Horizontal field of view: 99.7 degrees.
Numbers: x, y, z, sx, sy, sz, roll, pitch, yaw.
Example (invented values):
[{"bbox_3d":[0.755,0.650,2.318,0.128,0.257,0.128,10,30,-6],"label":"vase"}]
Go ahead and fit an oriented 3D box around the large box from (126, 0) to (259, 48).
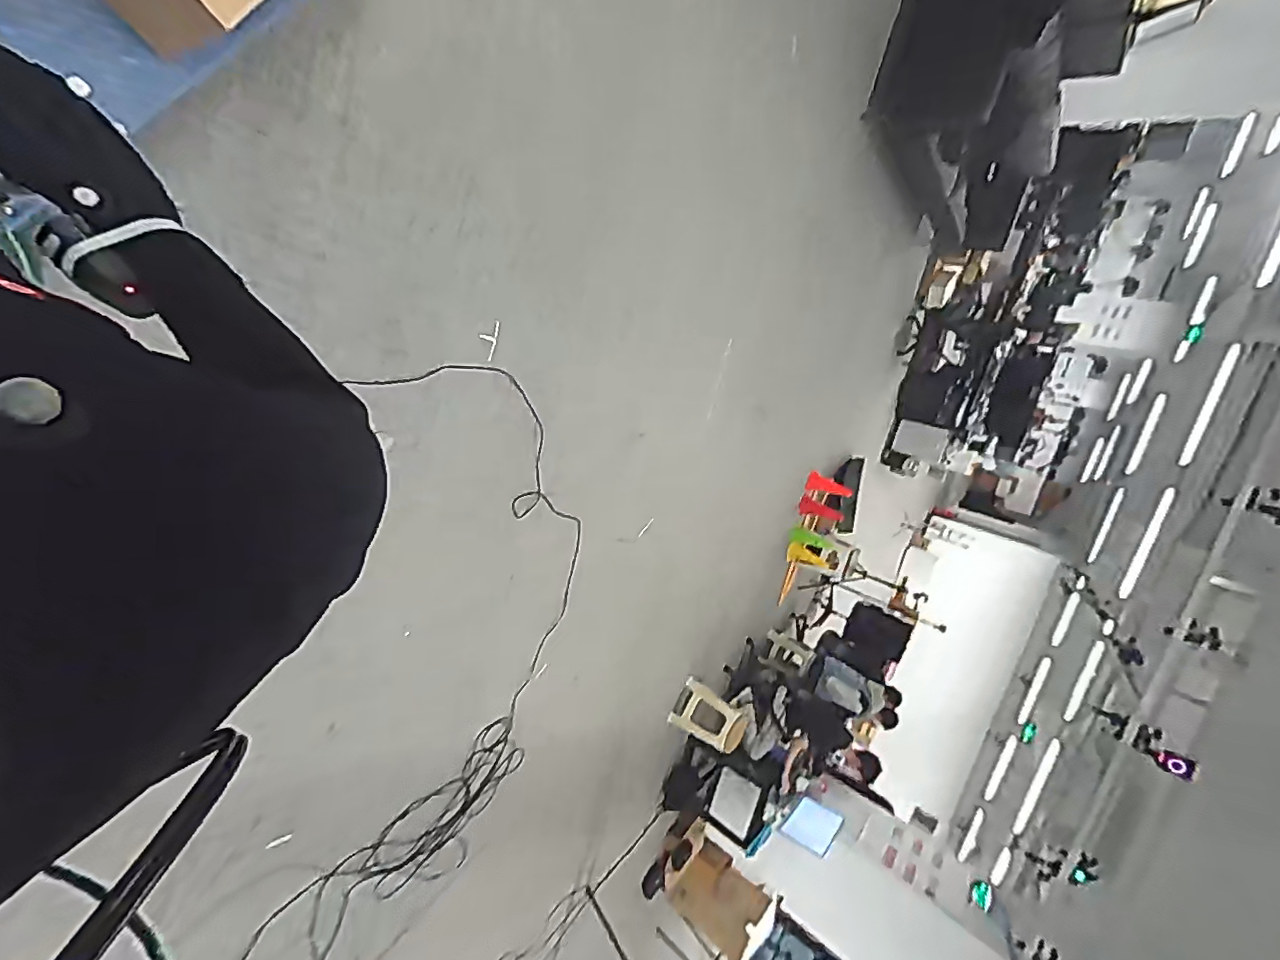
[{"bbox_3d":[-0.656,-0.875,0.684,0.320,0.320,0.408,-59,144,-14],"label":"large box"}]
